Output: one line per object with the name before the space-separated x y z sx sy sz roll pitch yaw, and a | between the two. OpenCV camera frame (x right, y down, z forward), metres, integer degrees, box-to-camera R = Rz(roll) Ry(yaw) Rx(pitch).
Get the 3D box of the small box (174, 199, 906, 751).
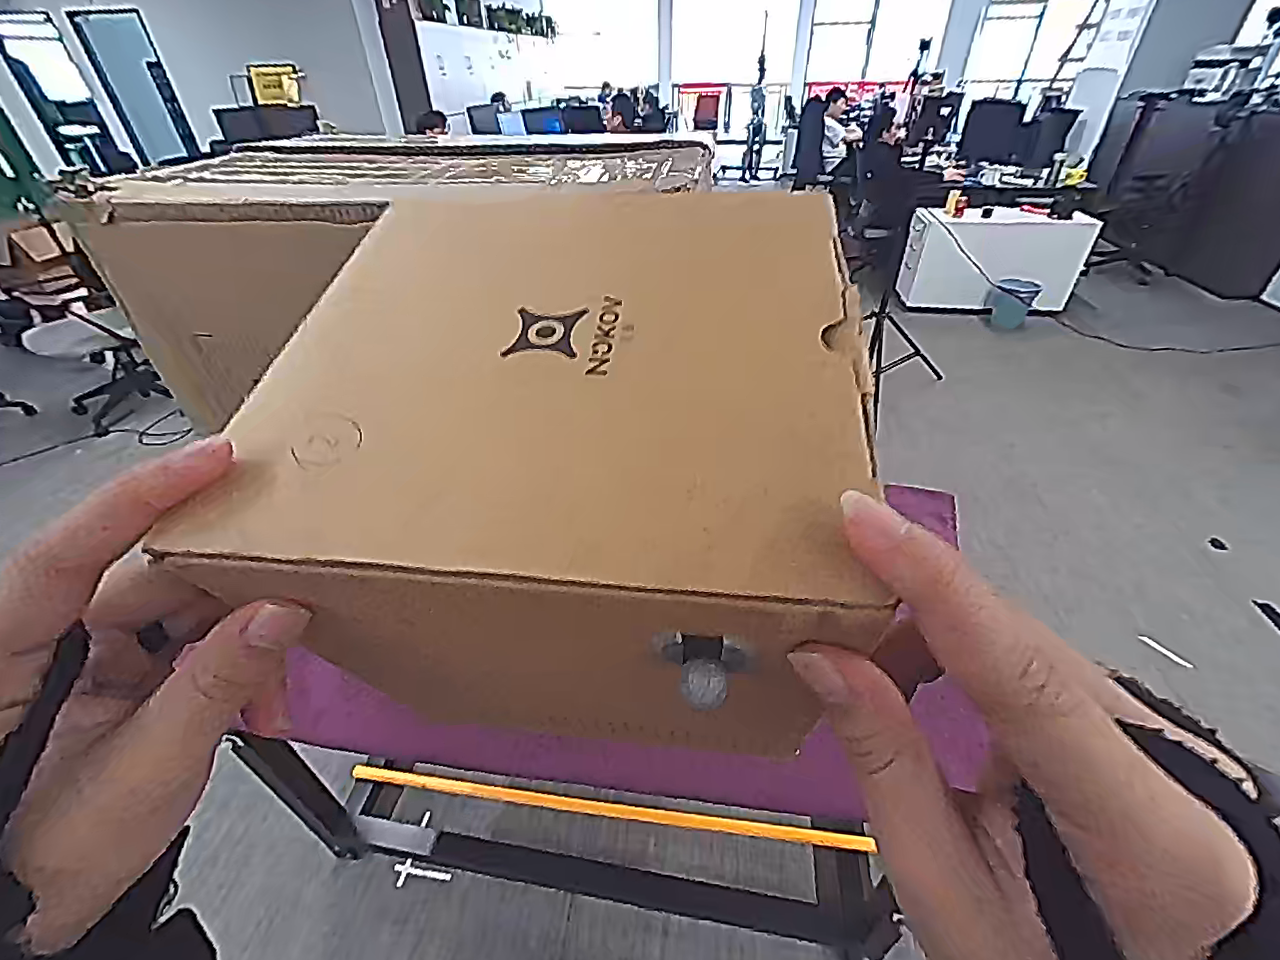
small box | -0.015 0.006 0.231 0.179 0.176 0.168 3 54 7
